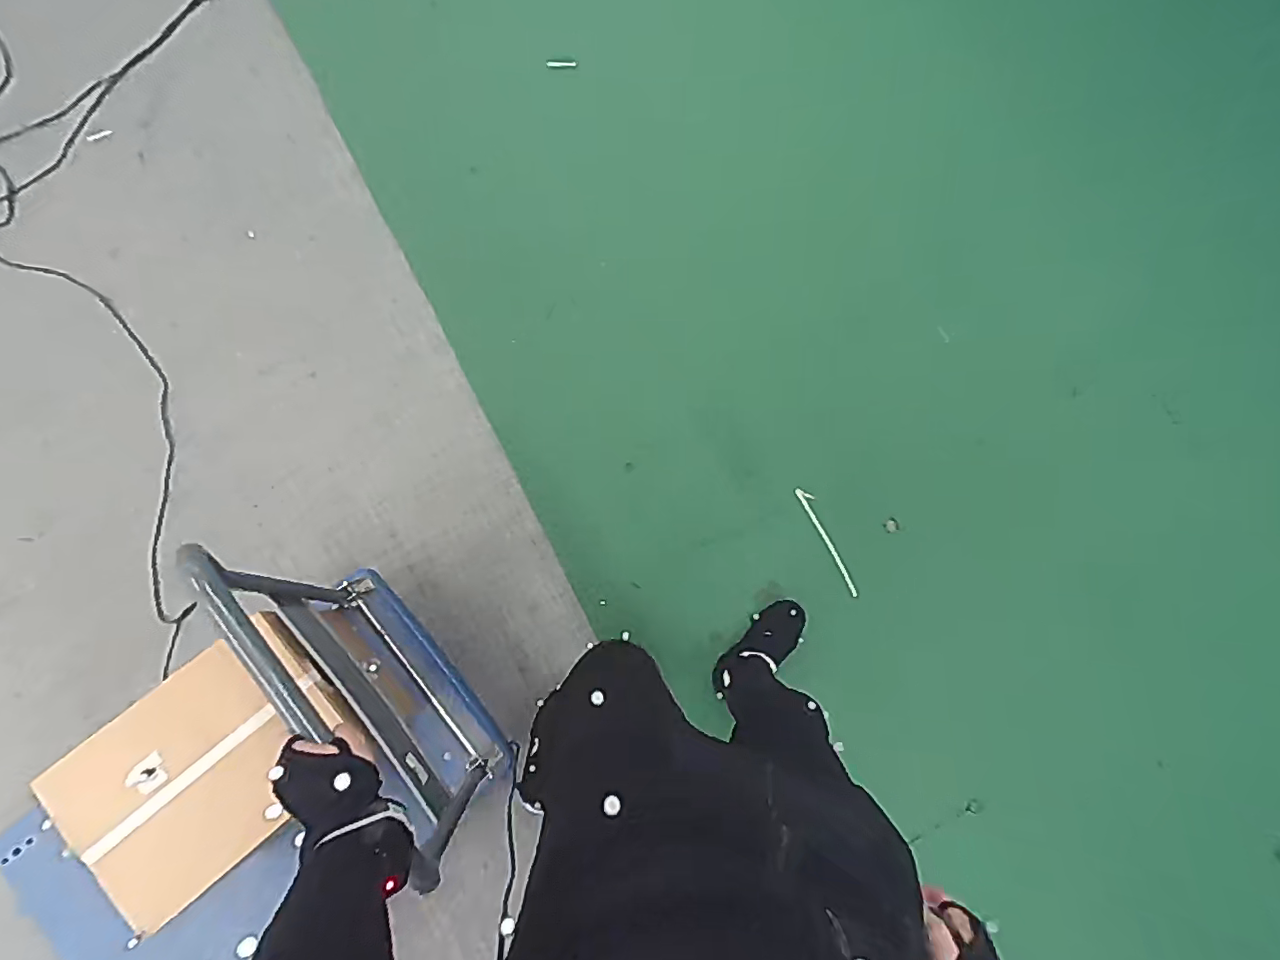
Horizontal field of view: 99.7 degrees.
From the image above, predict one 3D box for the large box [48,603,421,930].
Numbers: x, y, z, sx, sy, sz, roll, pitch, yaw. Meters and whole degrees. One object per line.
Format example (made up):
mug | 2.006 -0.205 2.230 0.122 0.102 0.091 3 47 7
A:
large box | -0.710 0.484 1.030 0.408 0.320 0.320 -40 84 -12
